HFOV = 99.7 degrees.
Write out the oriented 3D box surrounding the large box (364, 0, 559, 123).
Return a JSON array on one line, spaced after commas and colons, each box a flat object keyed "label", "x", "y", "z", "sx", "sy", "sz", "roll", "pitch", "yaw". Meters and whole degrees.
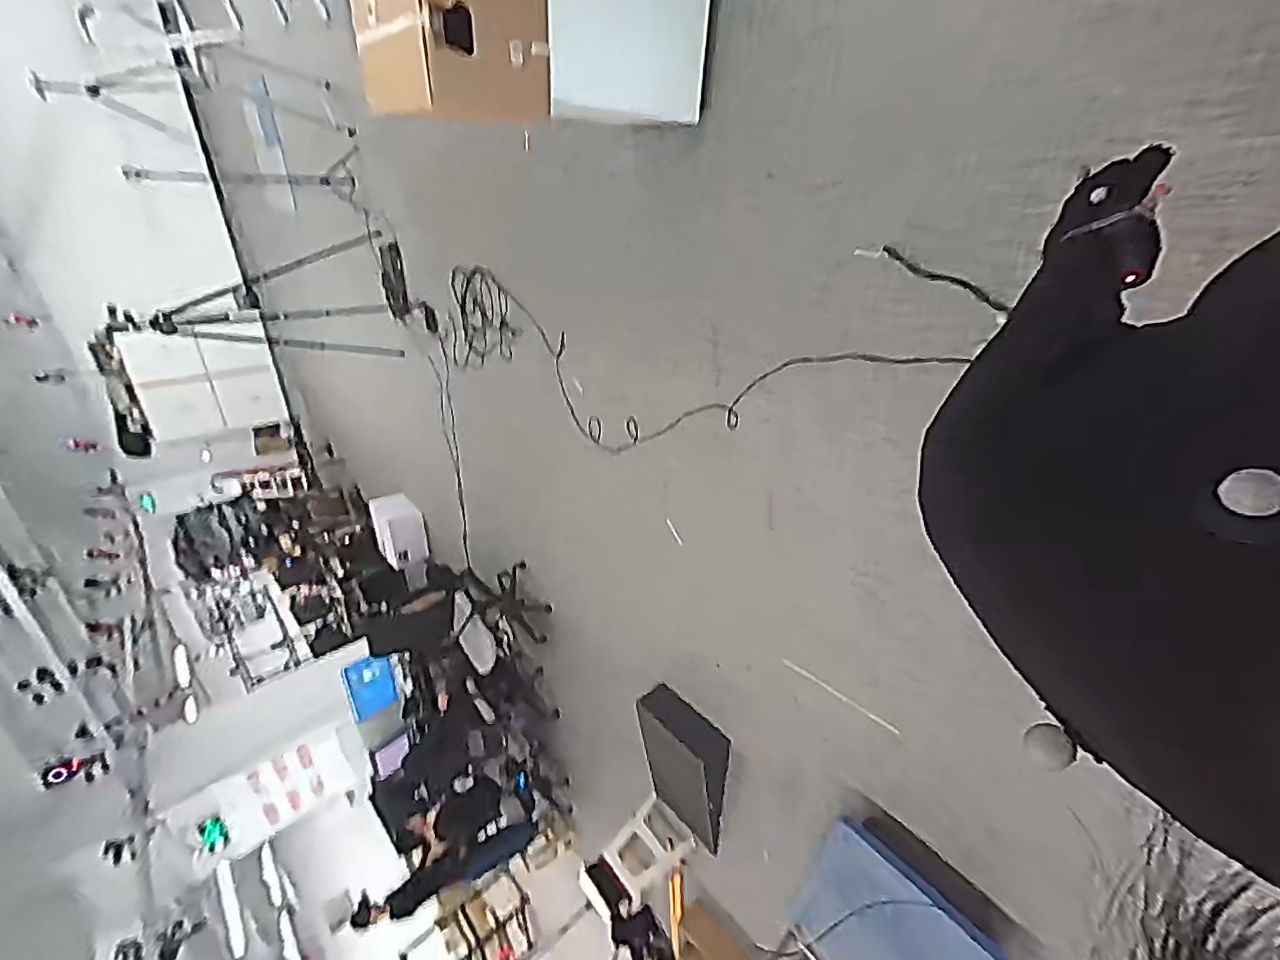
[{"label": "large box", "x": -0.438, "y": -1.082, "z": 1.335, "sx": 0.408, "sy": 0.320, "sz": 0.320, "roll": 32, "pitch": 129, "yaw": 40}]
